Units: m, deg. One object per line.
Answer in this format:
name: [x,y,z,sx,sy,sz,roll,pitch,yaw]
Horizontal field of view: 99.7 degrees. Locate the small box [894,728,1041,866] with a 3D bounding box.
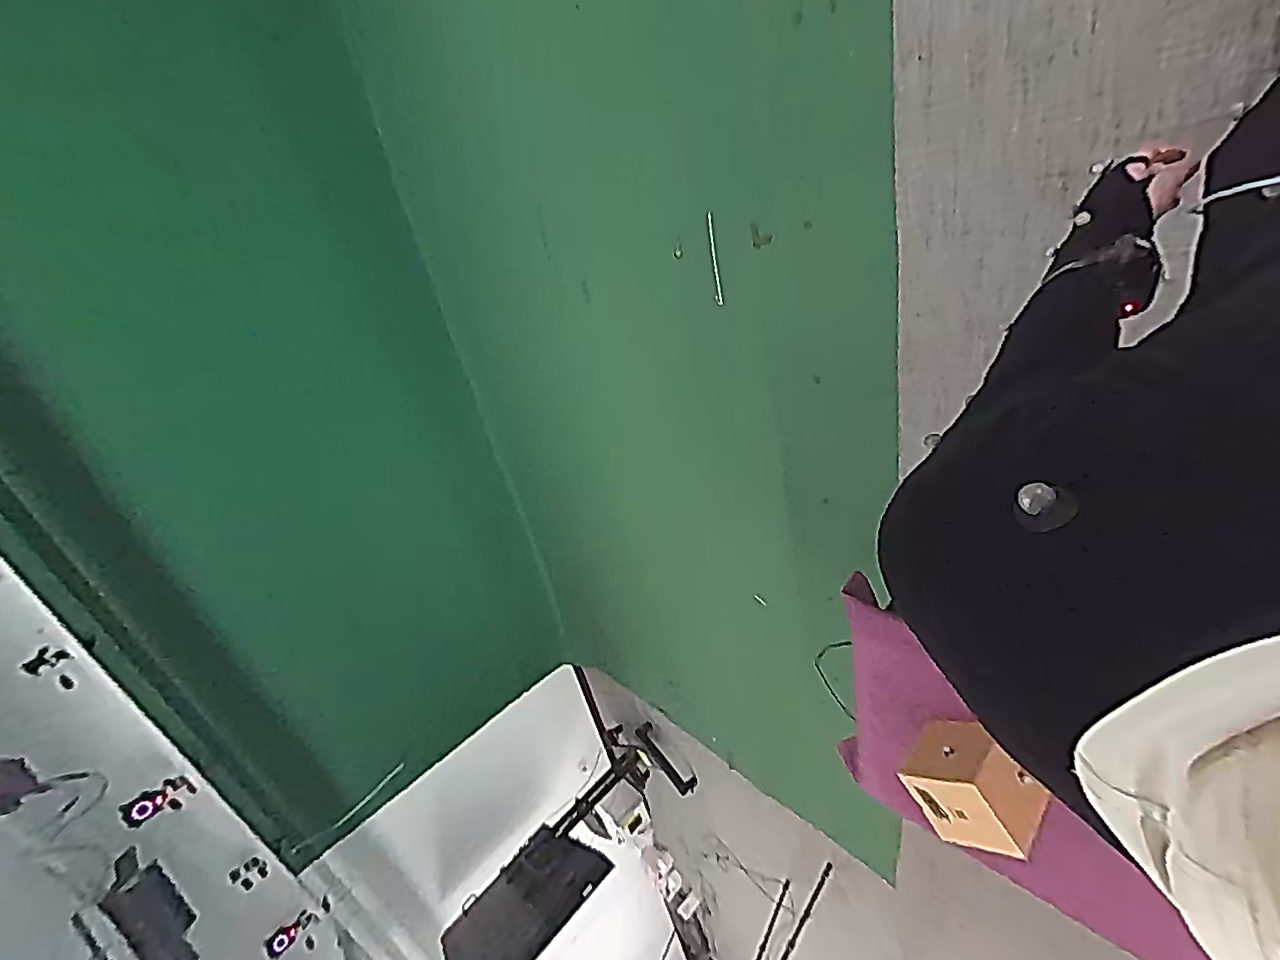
small box: [0.671,0.634,1.109,0.168,0.176,0.179,56,145,2]
